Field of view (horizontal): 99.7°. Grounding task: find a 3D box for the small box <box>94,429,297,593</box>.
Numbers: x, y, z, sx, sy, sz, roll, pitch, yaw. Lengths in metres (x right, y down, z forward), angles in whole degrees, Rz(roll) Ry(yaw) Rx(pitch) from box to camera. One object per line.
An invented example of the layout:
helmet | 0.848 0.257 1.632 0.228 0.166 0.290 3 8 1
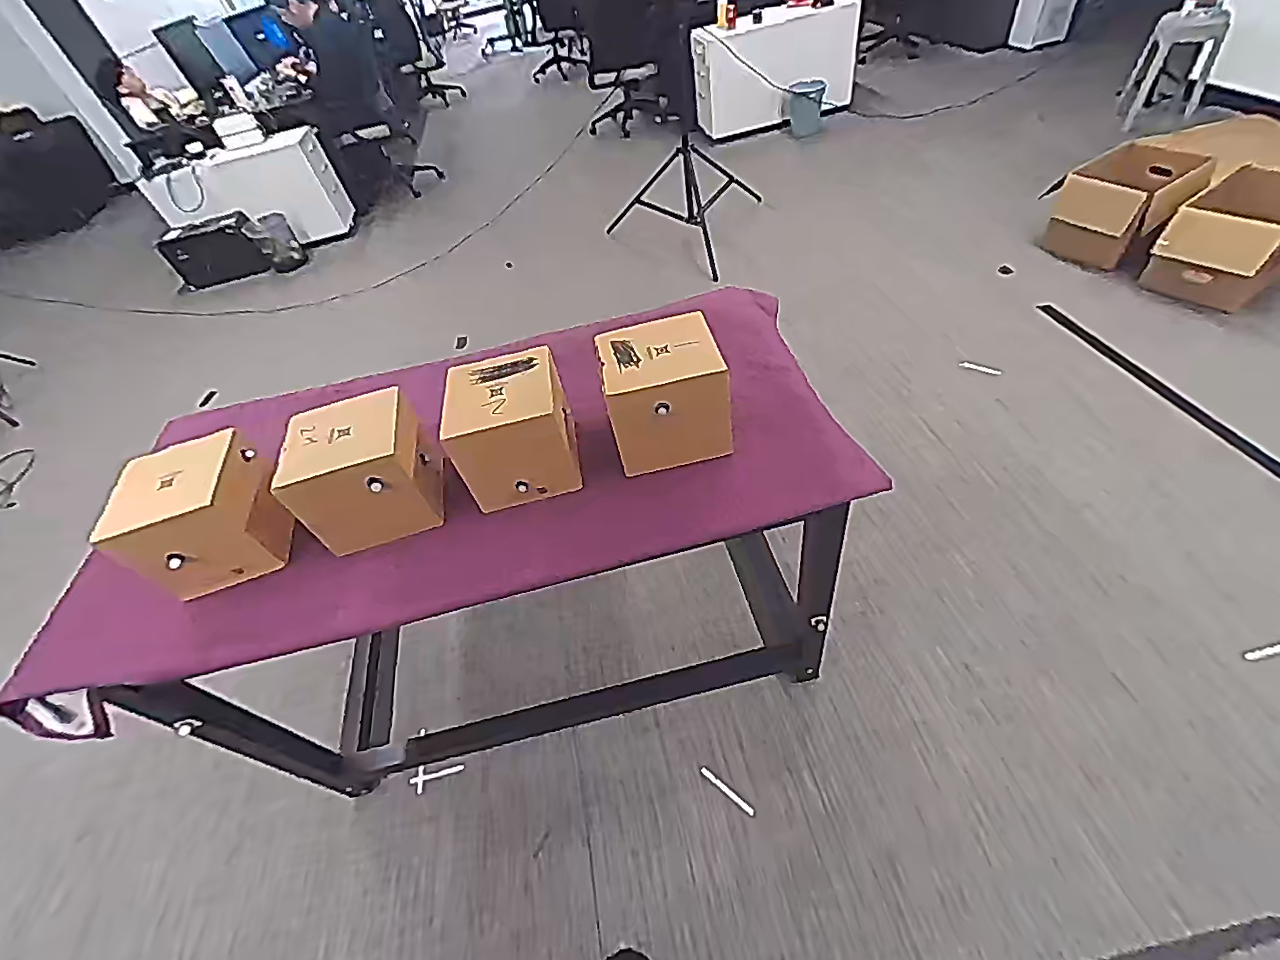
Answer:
small box | -0.676 0.057 0.853 0.168 0.176 0.179 -20 47 -5

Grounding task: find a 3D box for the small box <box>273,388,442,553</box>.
small box | -0.429 -0.013 0.857 0.179 0.176 0.168 -18 47 -3

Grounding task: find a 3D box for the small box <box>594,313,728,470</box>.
small box | 0.036 -0.136 0.863 0.179 0.176 0.168 -12 46 1
